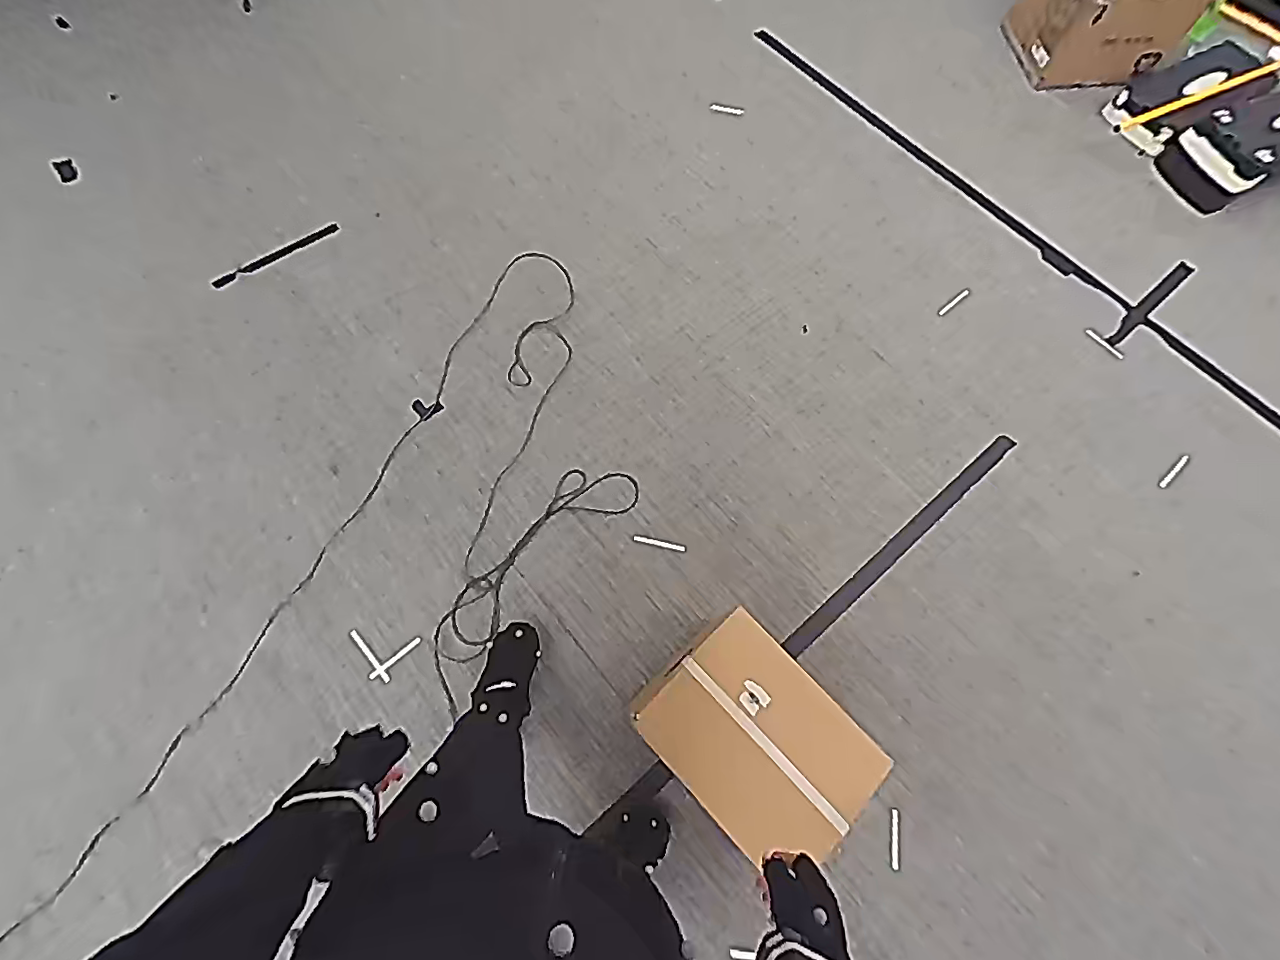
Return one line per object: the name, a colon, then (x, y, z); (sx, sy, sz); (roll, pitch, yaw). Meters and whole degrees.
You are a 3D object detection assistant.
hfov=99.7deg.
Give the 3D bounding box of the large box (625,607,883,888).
large box: (0.212, 0.538, 1.165); (0.320, 0.320, 0.408); (-41, 77, -16)
